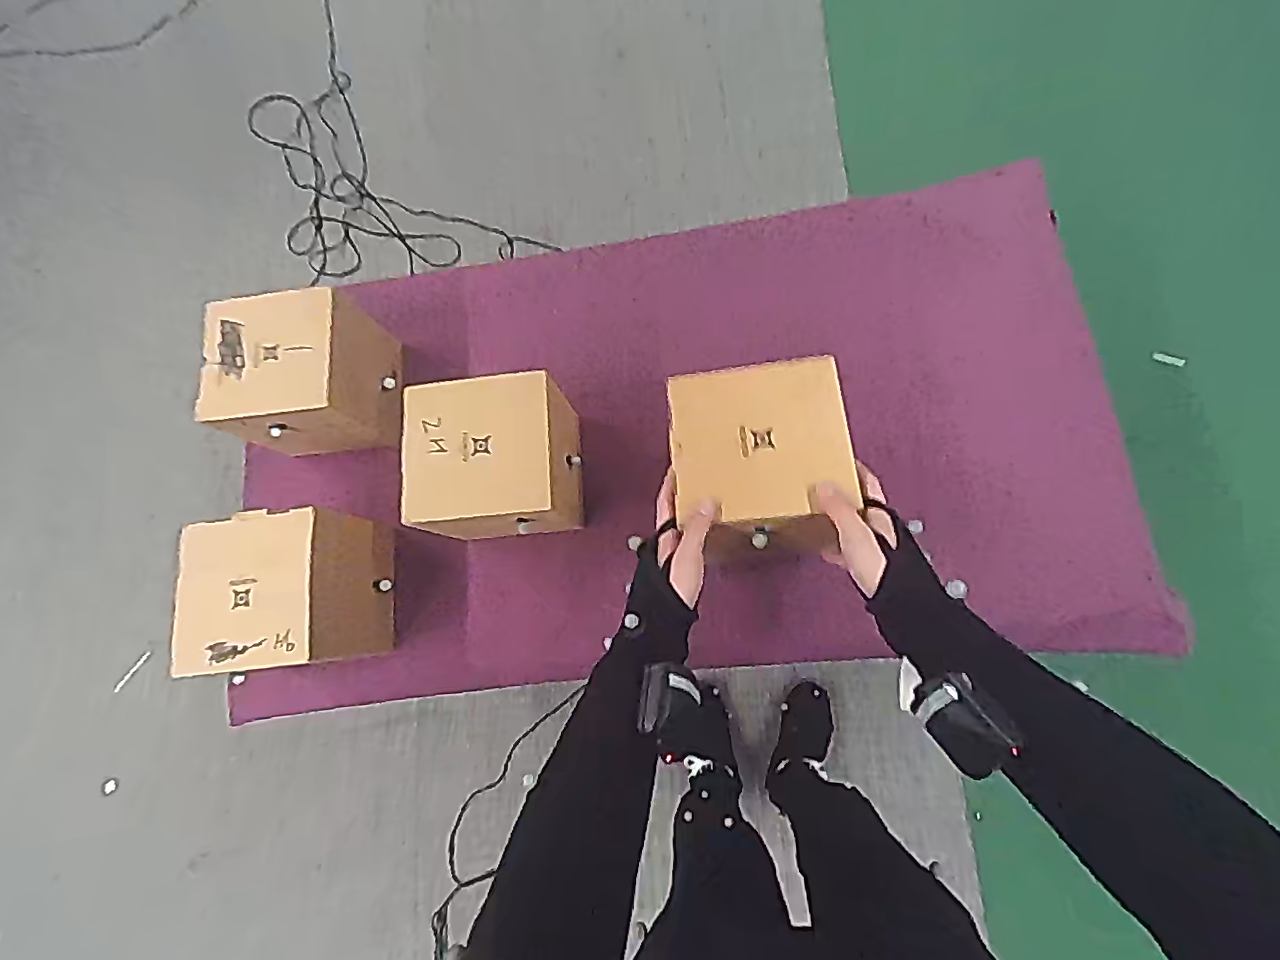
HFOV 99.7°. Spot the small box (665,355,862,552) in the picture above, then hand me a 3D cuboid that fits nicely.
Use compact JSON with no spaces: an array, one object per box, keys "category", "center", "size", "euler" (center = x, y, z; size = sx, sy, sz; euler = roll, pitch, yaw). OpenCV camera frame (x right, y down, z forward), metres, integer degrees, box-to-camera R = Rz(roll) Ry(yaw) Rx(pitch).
[{"category":"small box","center":[0.129,-0.017,0.603],"size":[0.179,0.176,0.168],"euler":[-6,72,10]}]

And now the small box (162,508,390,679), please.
[{"category":"small box","center":[-0.435,0.144,0.676],"size":[0.168,0.176,0.179],"euler":[-7,76,5]}]

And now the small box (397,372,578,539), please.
[{"category":"small box","center":[-0.177,-0.020,0.679],"size":[0.179,0.176,0.168],"euler":[-6,77,6]}]

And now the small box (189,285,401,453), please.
[{"category":"small box","center":[-0.456,-0.139,0.739],"size":[0.179,0.176,0.168],"euler":[-6,78,5]}]
